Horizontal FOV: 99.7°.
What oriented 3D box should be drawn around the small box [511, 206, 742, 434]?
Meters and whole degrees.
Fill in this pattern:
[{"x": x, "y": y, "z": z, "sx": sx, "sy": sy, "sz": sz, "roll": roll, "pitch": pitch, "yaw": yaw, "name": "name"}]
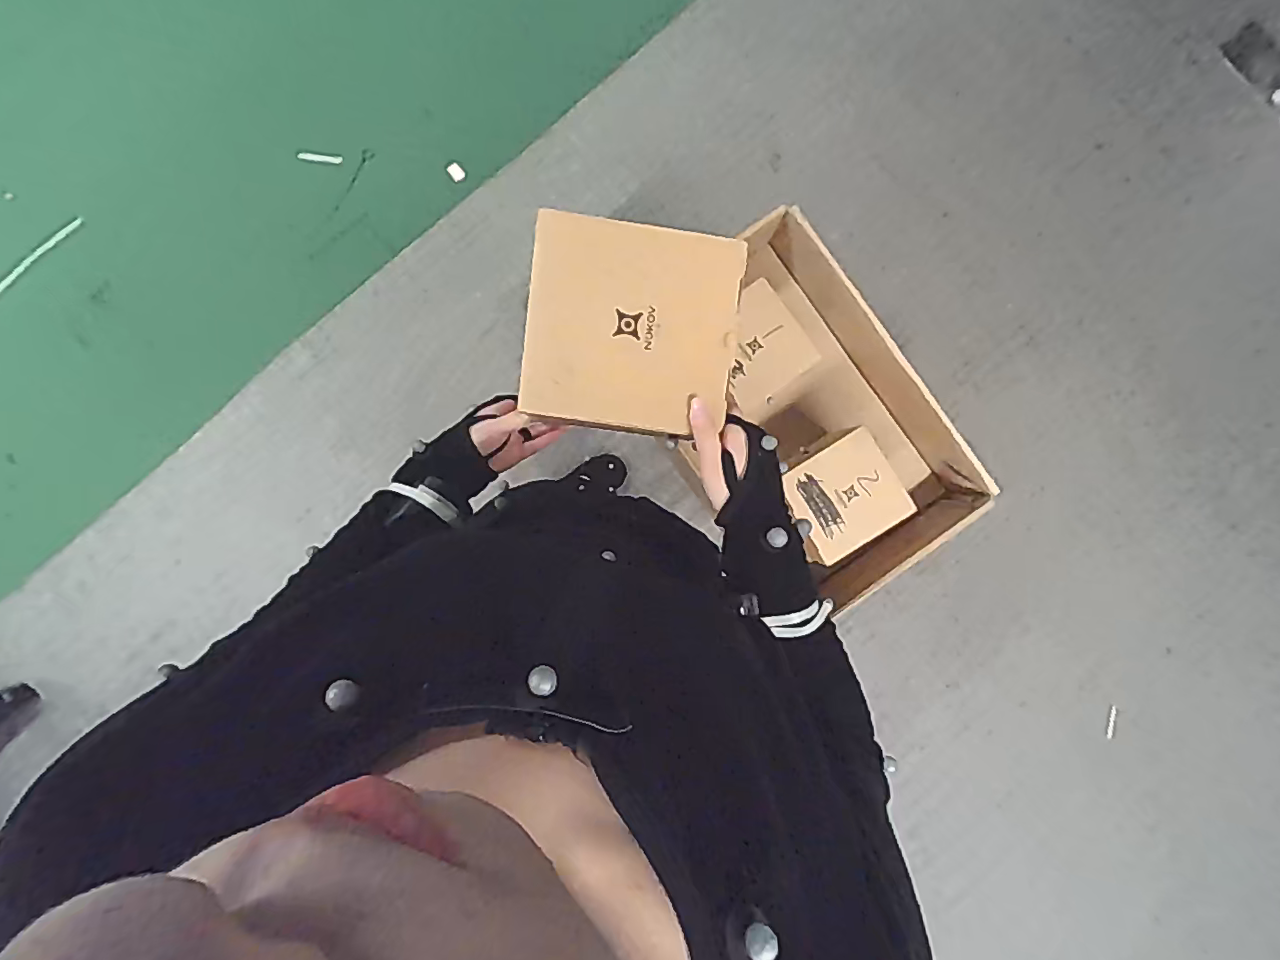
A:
[{"x": -0.017, "y": -0.136, "z": 0.526, "sx": 0.179, "sy": 0.176, "sz": 0.168, "roll": 7, "pitch": 94, "yaw": -6, "name": "small box"}]
